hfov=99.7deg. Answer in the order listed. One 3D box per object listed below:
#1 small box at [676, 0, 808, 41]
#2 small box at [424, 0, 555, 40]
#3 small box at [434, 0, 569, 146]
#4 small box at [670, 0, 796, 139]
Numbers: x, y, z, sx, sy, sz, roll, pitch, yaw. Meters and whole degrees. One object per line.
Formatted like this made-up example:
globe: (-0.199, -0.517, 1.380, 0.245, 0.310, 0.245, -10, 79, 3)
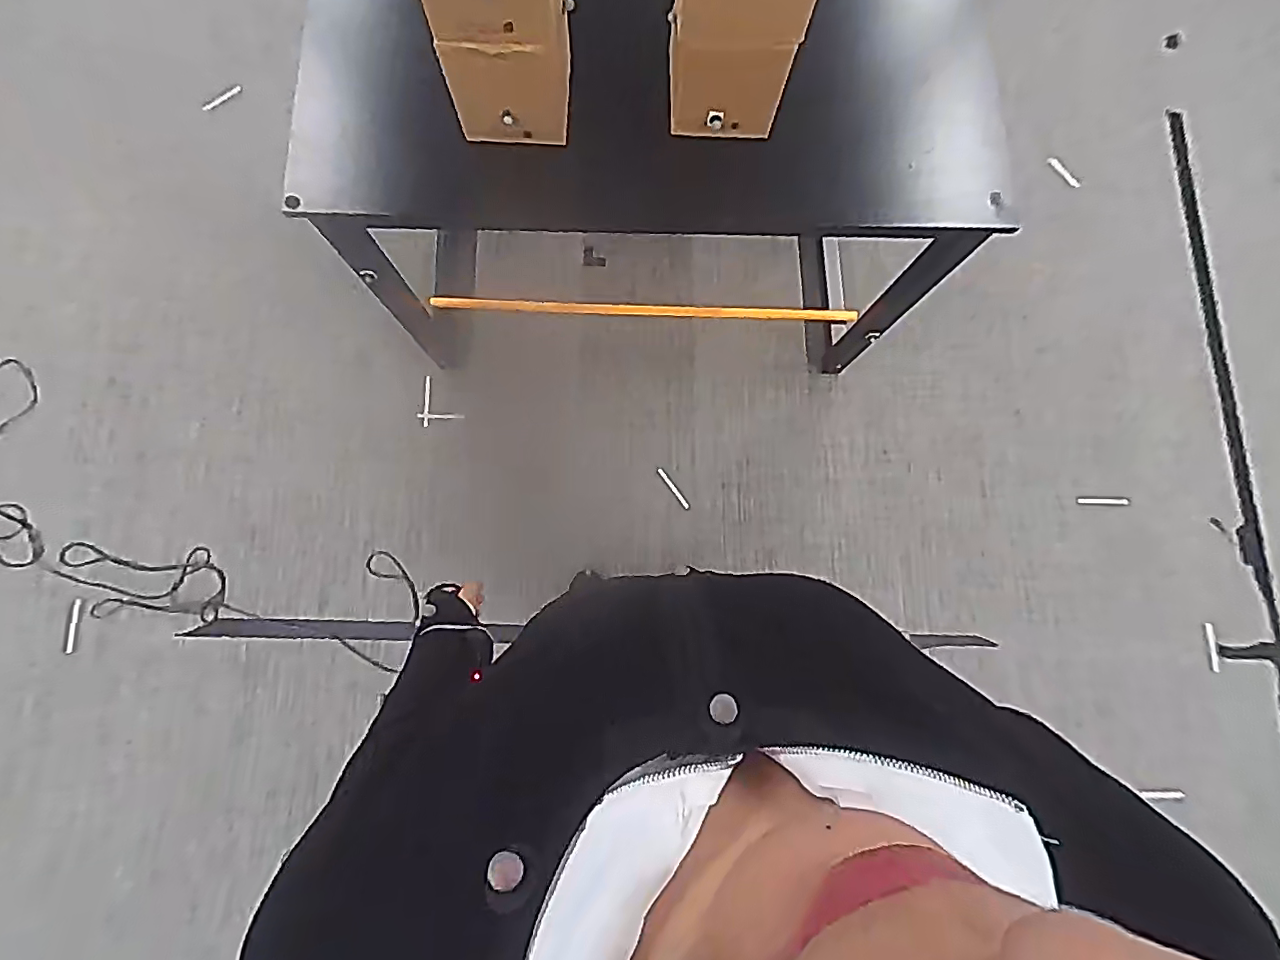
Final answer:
small box: (0.136, -0.703, 0.688, 0.179, 0.176, 0.168, -2, 80, -2)
small box: (-0.198, -0.695, 0.673, 0.168, 0.176, 0.179, -1, 81, -2)
small box: (-0.201, -0.658, 0.833, 0.168, 0.176, 0.179, 2, 80, -1)
small box: (0.135, -0.679, 0.851, 0.168, 0.176, 0.179, -1, 81, -1)
